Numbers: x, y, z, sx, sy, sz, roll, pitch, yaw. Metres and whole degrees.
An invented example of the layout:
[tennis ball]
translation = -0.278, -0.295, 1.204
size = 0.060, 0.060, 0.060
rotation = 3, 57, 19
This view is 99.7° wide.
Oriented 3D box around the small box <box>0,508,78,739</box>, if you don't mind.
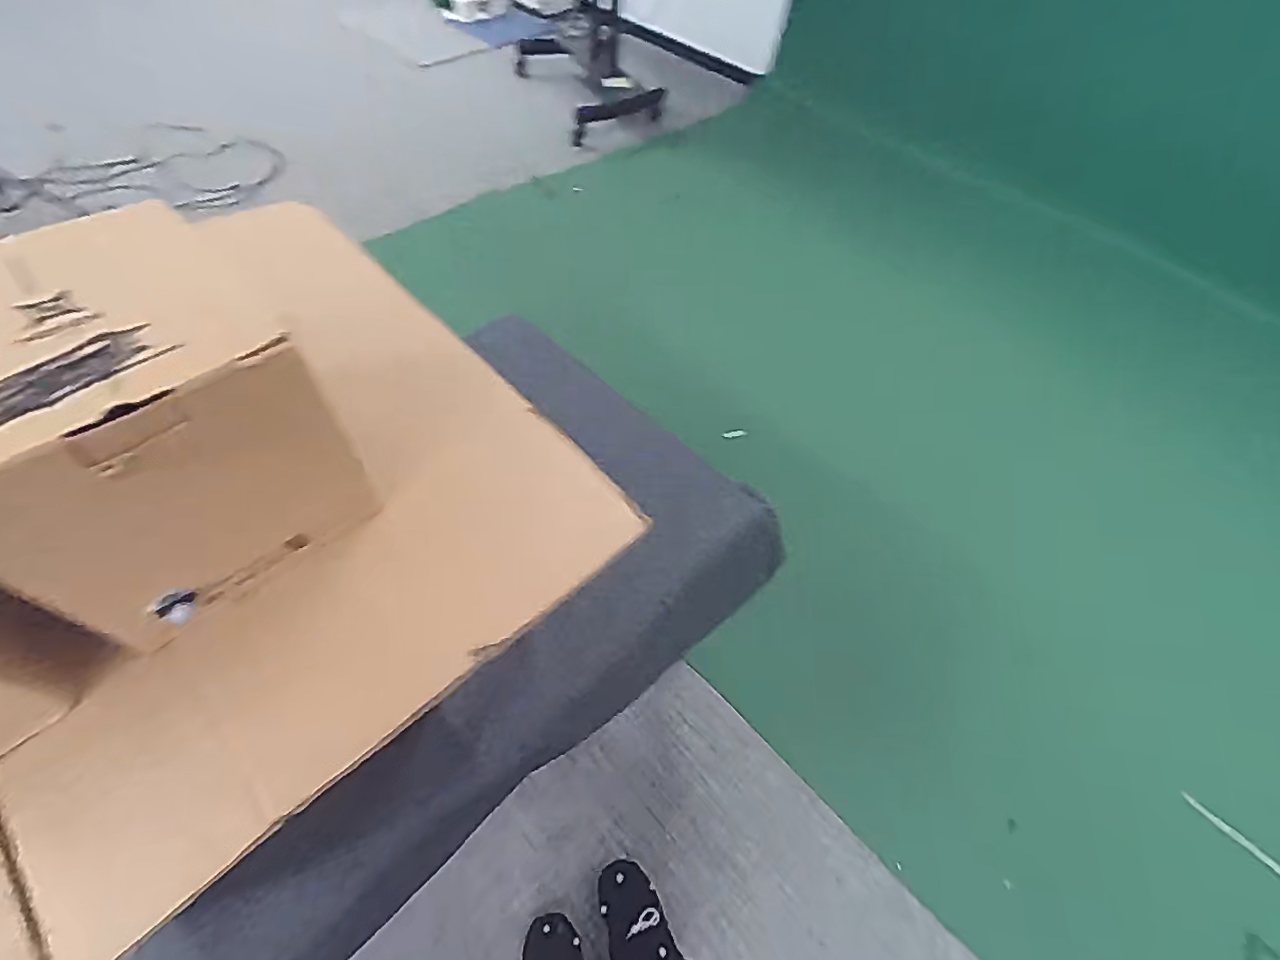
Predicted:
[small box]
translation = -0.449, 0.069, 0.261
size = 0.168, 0.176, 0.179
rotation = -38, 66, -25
